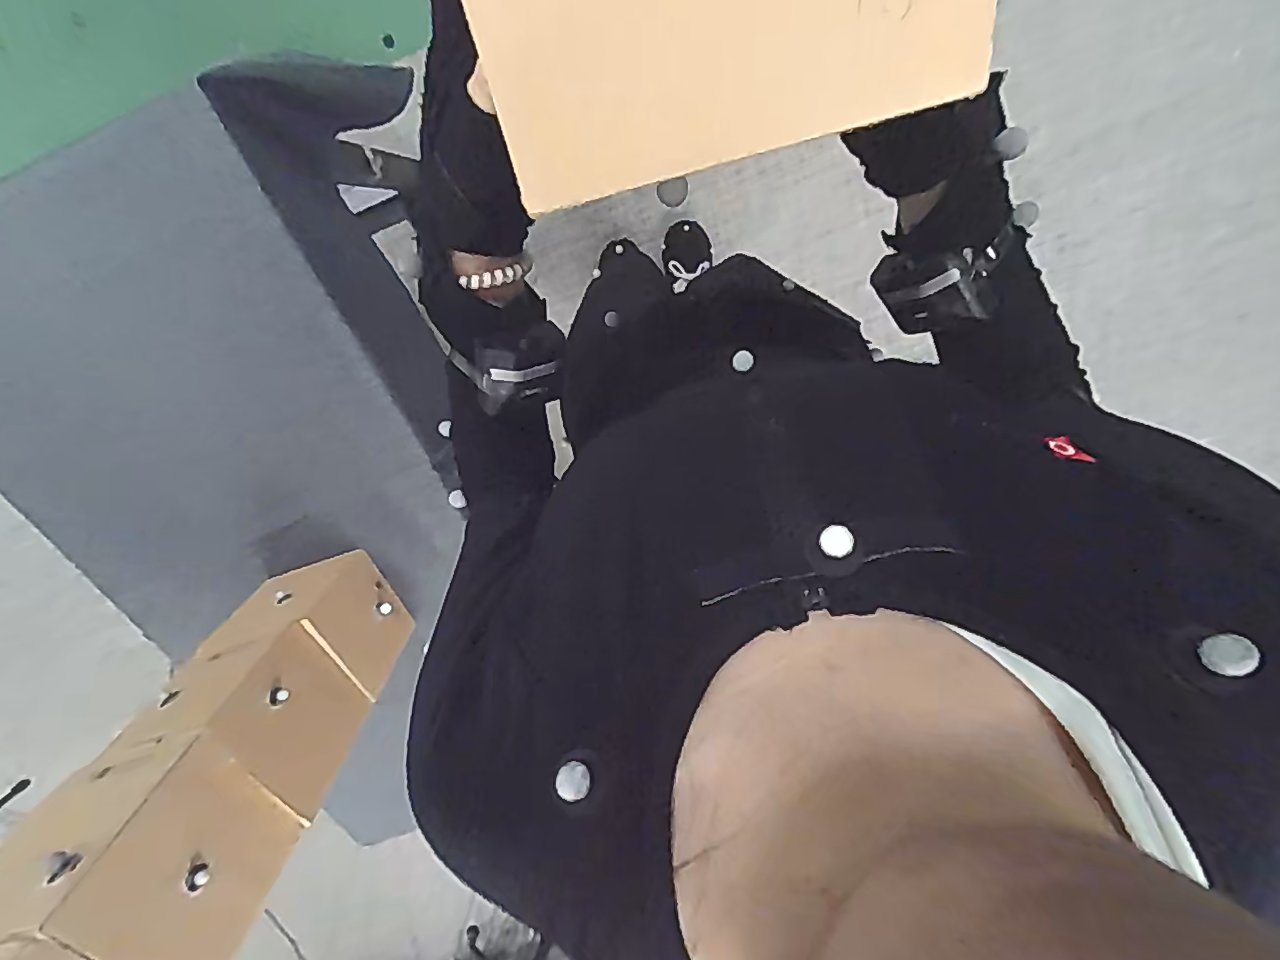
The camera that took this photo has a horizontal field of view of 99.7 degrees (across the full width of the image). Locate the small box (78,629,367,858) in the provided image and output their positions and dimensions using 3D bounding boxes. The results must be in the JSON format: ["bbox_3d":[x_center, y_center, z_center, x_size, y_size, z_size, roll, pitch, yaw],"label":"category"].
[{"bbox_3d":[-0.476,0.303,0.651,0.168,0.176,0.179,-20,114,10],"label":"small box"}]

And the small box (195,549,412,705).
[{"bbox_3d":[-0.476,0.229,0.796,0.179,0.176,0.168,-19,115,7],"label":"small box"}]
